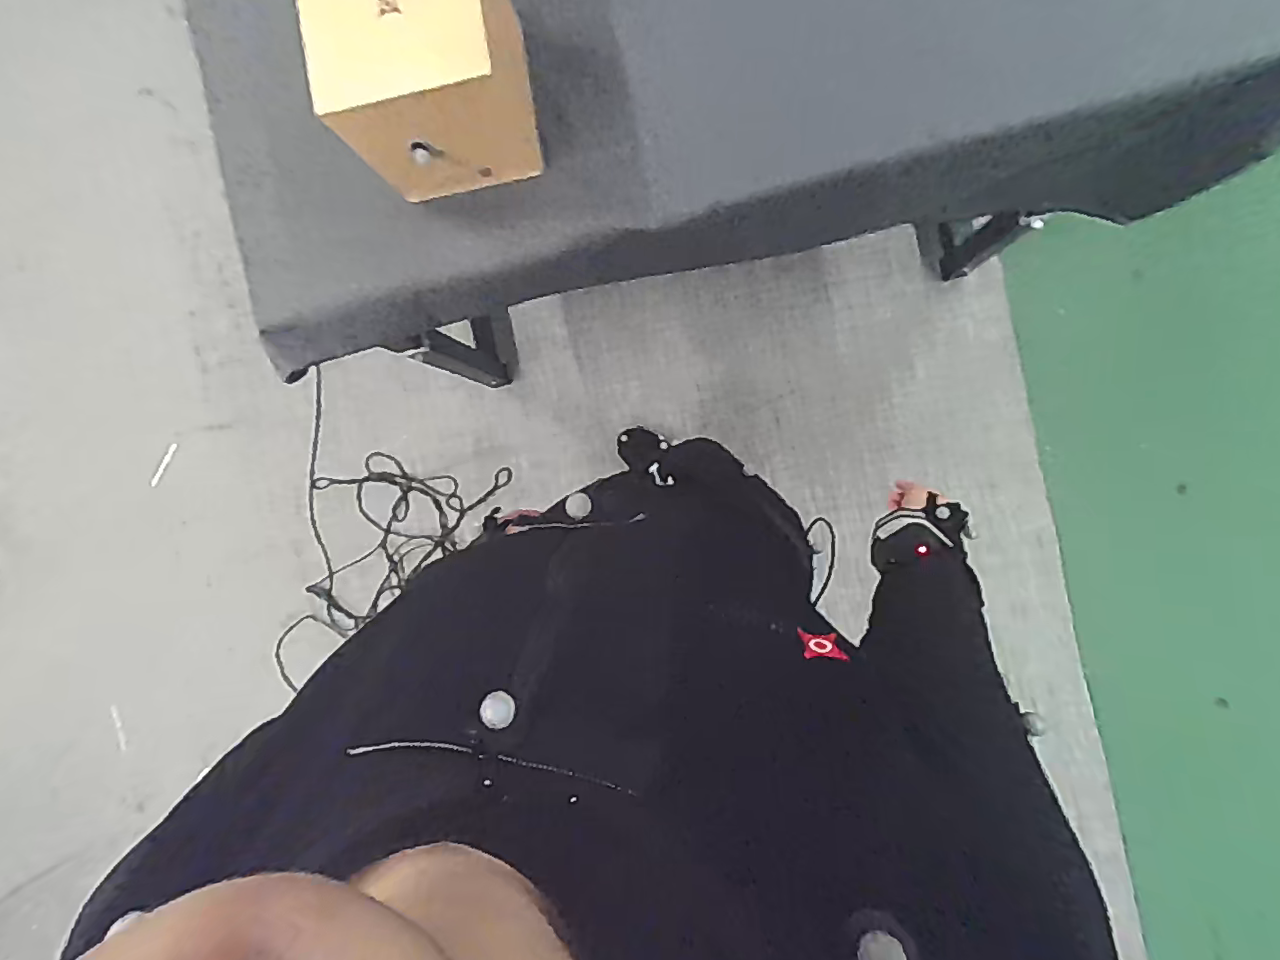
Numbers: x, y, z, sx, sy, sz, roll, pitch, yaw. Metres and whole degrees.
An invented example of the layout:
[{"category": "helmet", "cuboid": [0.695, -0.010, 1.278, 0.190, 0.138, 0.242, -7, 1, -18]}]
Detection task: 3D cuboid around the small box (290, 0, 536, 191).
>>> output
[{"category": "small box", "cuboid": [-0.215, -0.420, 0.545, 0.168, 0.176, 0.179, -10, 89, 6]}]
